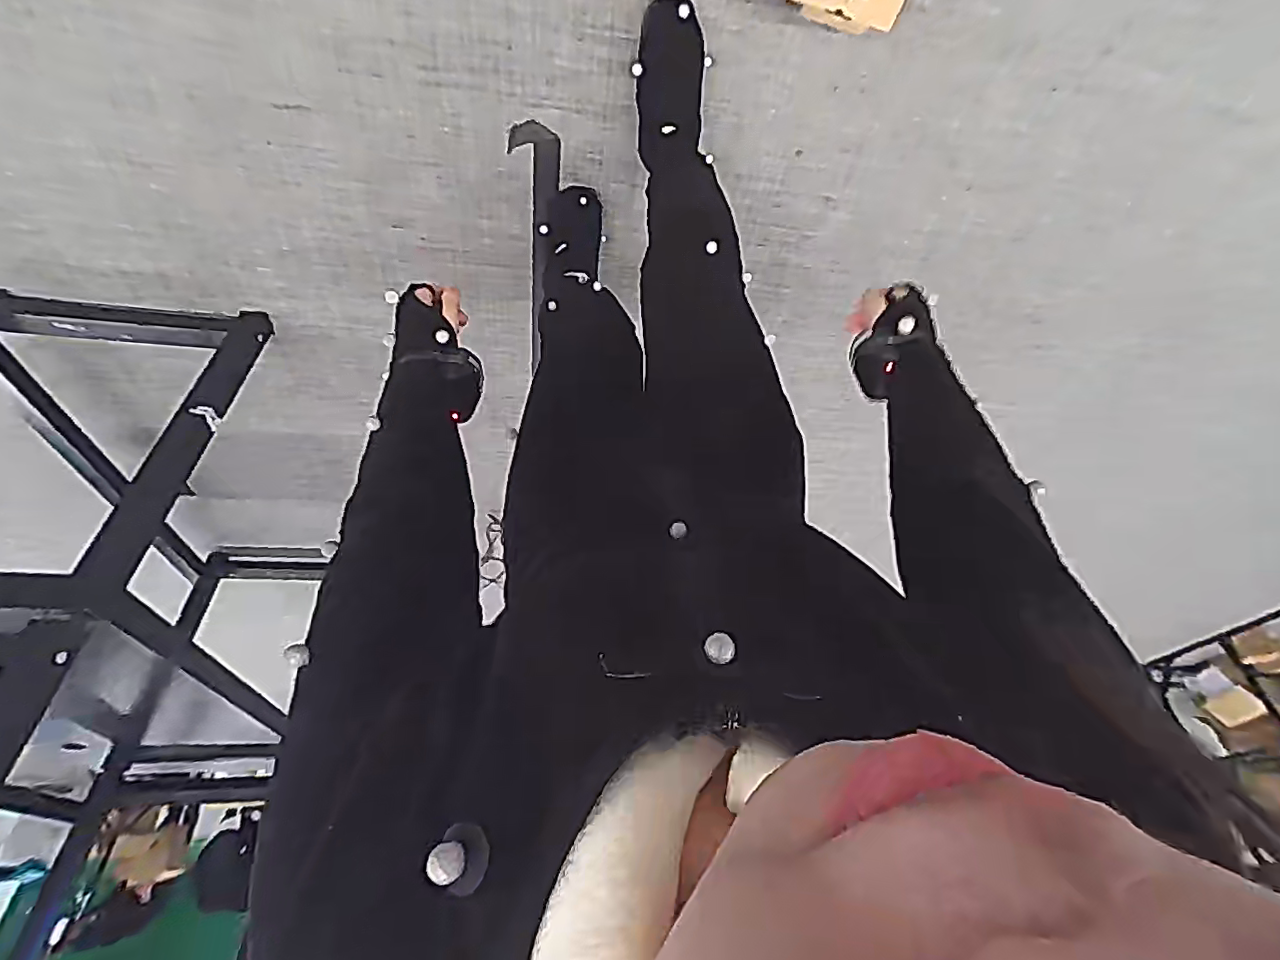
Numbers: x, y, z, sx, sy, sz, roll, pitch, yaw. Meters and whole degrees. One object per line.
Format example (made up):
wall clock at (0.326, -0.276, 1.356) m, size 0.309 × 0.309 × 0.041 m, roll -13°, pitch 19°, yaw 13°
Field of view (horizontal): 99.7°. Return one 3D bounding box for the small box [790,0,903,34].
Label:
small box at (0.288, -0.755, 0.729) m, size 0.168 × 0.176 × 0.179 m, roll 6°, pitch 140°, yaw -14°
